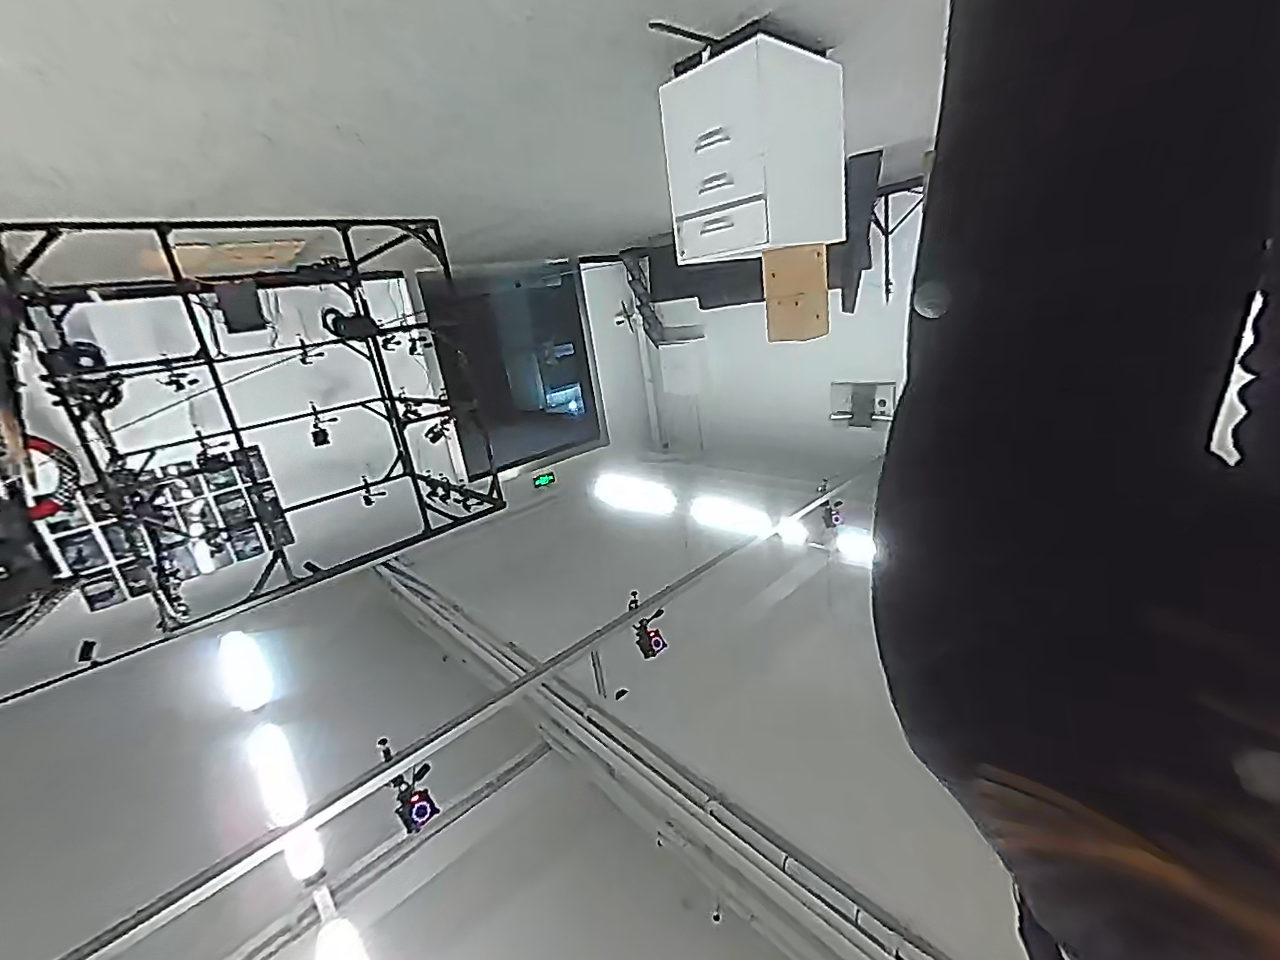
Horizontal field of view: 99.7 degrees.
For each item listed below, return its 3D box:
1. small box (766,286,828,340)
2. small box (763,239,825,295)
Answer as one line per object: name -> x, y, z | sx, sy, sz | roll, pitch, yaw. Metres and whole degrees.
small box -> 0.597, -0.638, 2.060 | 0.179, 0.176, 0.168 | -25, -154, -36
small box -> 0.570, -0.789, 2.003 | 0.179, 0.176, 0.168 | 11, -153, 43
